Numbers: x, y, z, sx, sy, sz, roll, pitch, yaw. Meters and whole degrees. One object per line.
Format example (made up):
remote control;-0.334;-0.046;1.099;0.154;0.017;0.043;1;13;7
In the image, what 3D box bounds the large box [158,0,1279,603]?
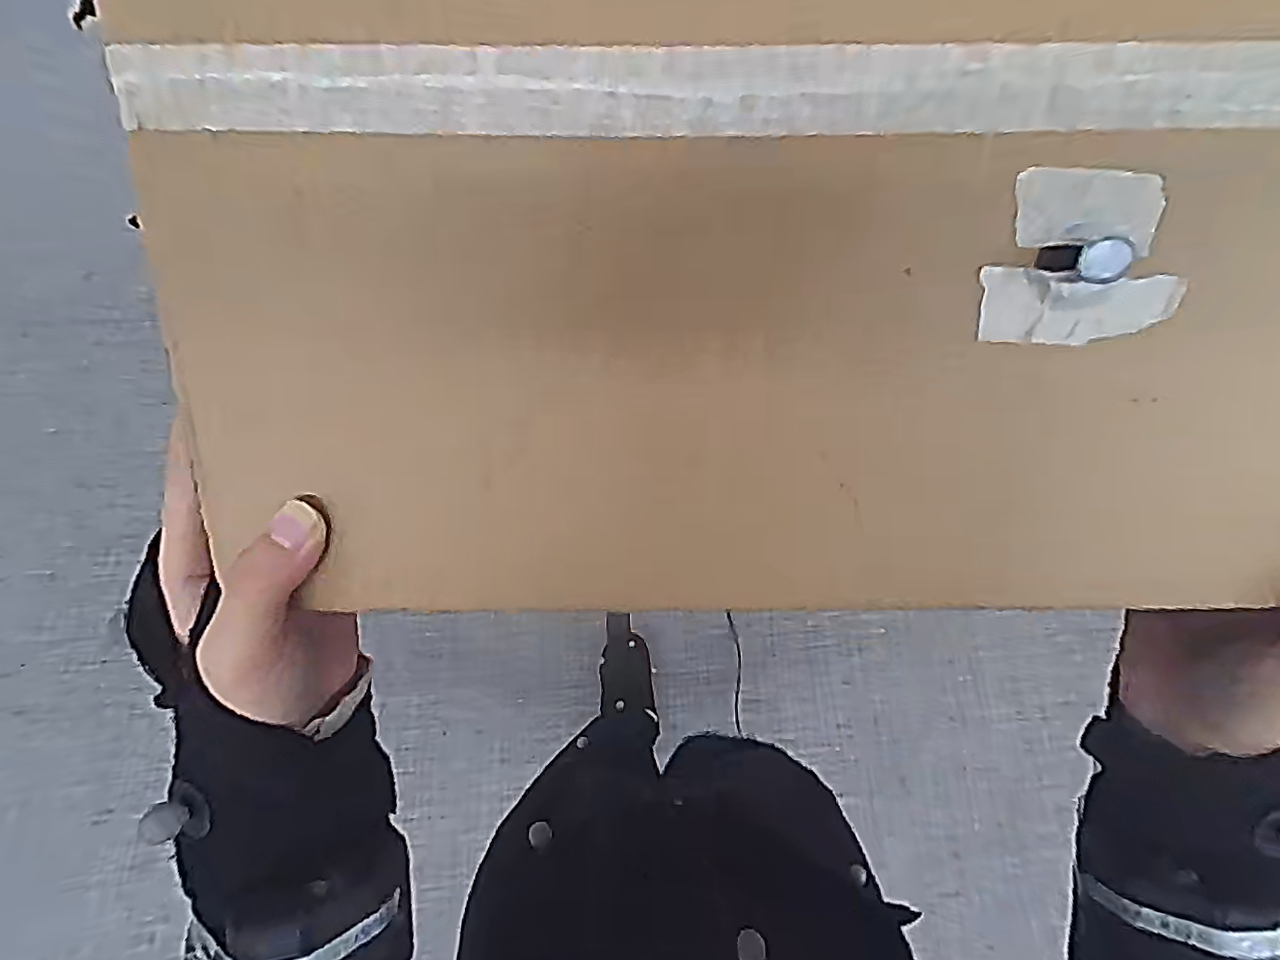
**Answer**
large box;0.056;-0.142;0.309;0.408;0.320;0.320;-1;103;-1
